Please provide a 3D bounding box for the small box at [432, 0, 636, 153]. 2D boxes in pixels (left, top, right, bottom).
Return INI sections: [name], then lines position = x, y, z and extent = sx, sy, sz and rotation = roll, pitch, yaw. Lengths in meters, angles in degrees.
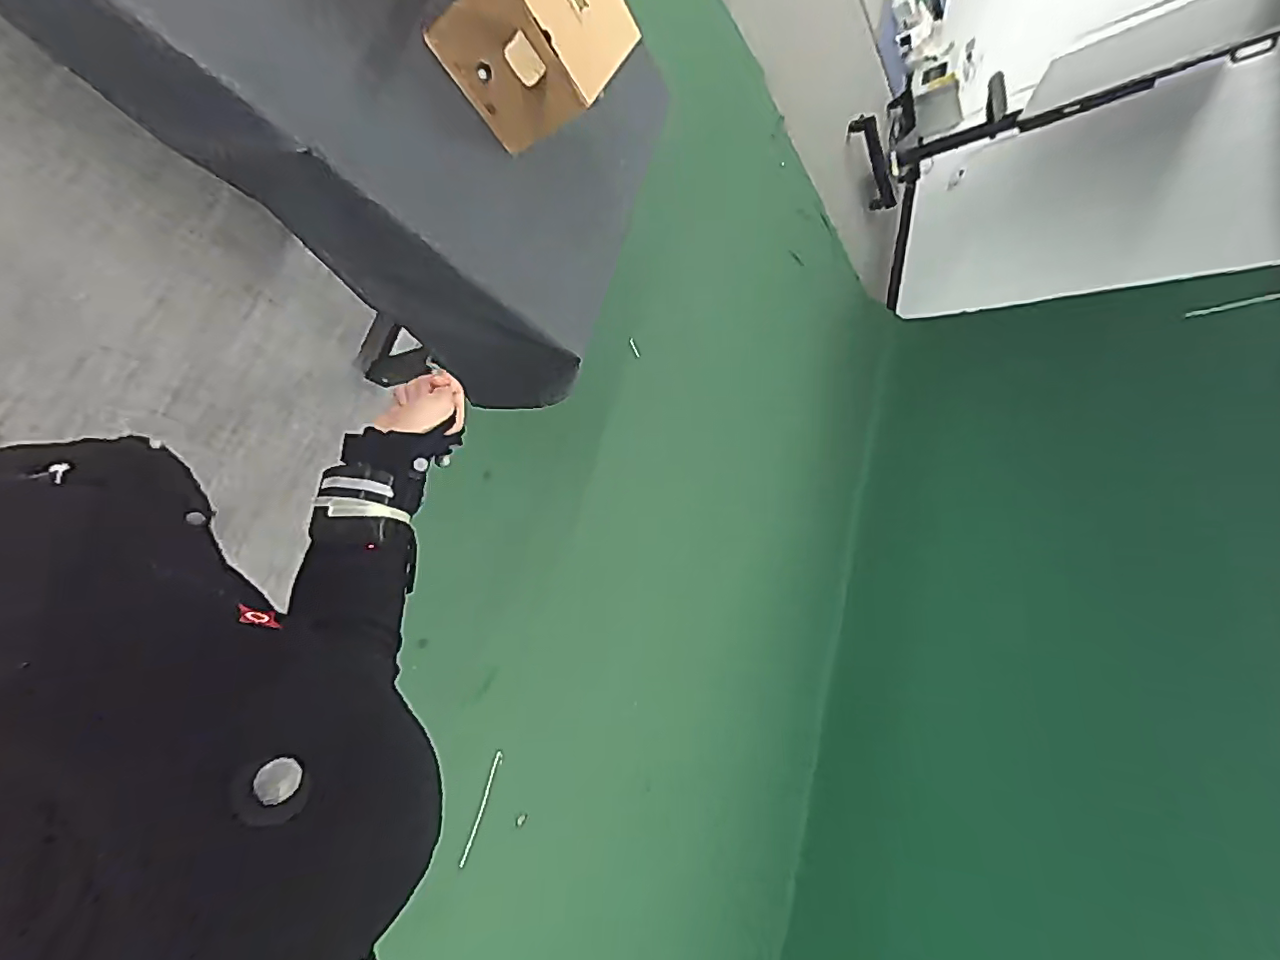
[small box]
position = -0.139, -0.581, 0.715
extent = 0.168, 0.176, 0.179
rotation = 45, 59, -40
